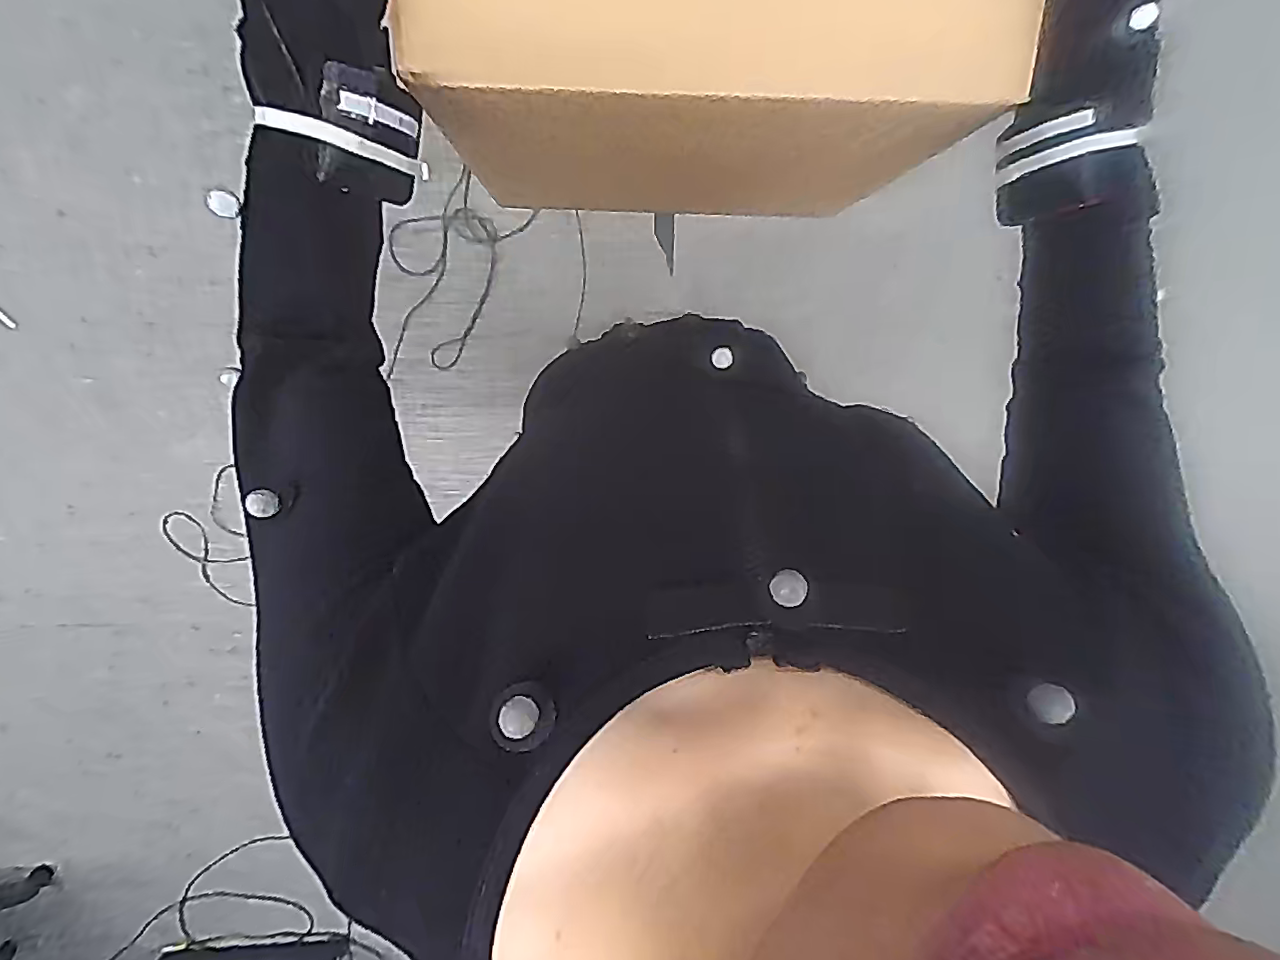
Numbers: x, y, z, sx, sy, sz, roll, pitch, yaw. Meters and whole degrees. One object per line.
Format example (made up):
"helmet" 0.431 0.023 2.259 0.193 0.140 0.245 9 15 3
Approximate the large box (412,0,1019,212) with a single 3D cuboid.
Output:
"large box" 0.042 -0.439 0.470 0.408 0.320 0.320 -1 103 -4
